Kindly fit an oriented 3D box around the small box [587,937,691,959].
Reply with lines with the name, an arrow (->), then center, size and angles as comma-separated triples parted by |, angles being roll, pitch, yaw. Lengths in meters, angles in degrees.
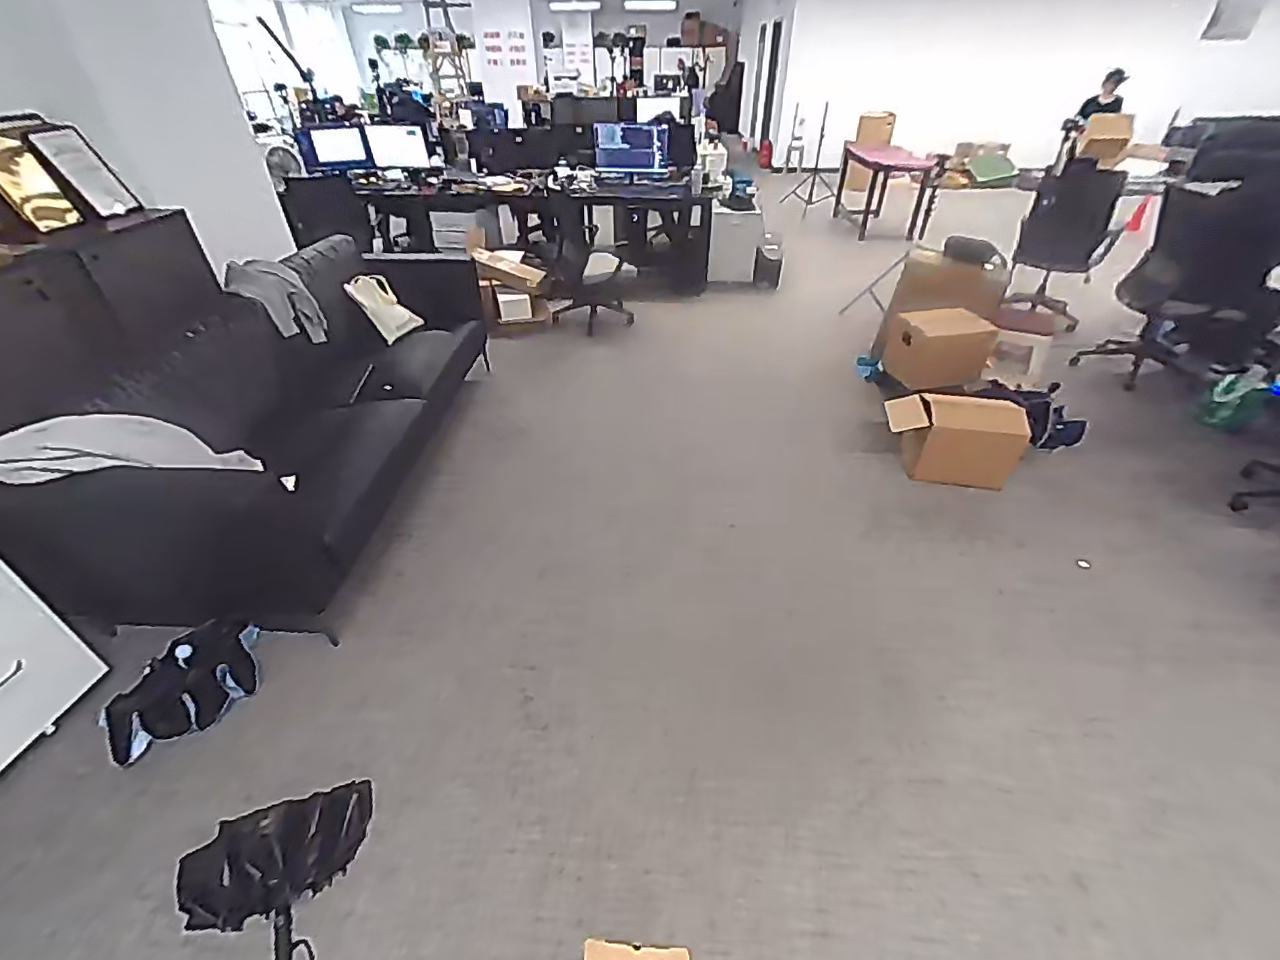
small box -> -0.009, 0.853, 0.843 | 0.168, 0.176, 0.179 | 3, 39, 3
